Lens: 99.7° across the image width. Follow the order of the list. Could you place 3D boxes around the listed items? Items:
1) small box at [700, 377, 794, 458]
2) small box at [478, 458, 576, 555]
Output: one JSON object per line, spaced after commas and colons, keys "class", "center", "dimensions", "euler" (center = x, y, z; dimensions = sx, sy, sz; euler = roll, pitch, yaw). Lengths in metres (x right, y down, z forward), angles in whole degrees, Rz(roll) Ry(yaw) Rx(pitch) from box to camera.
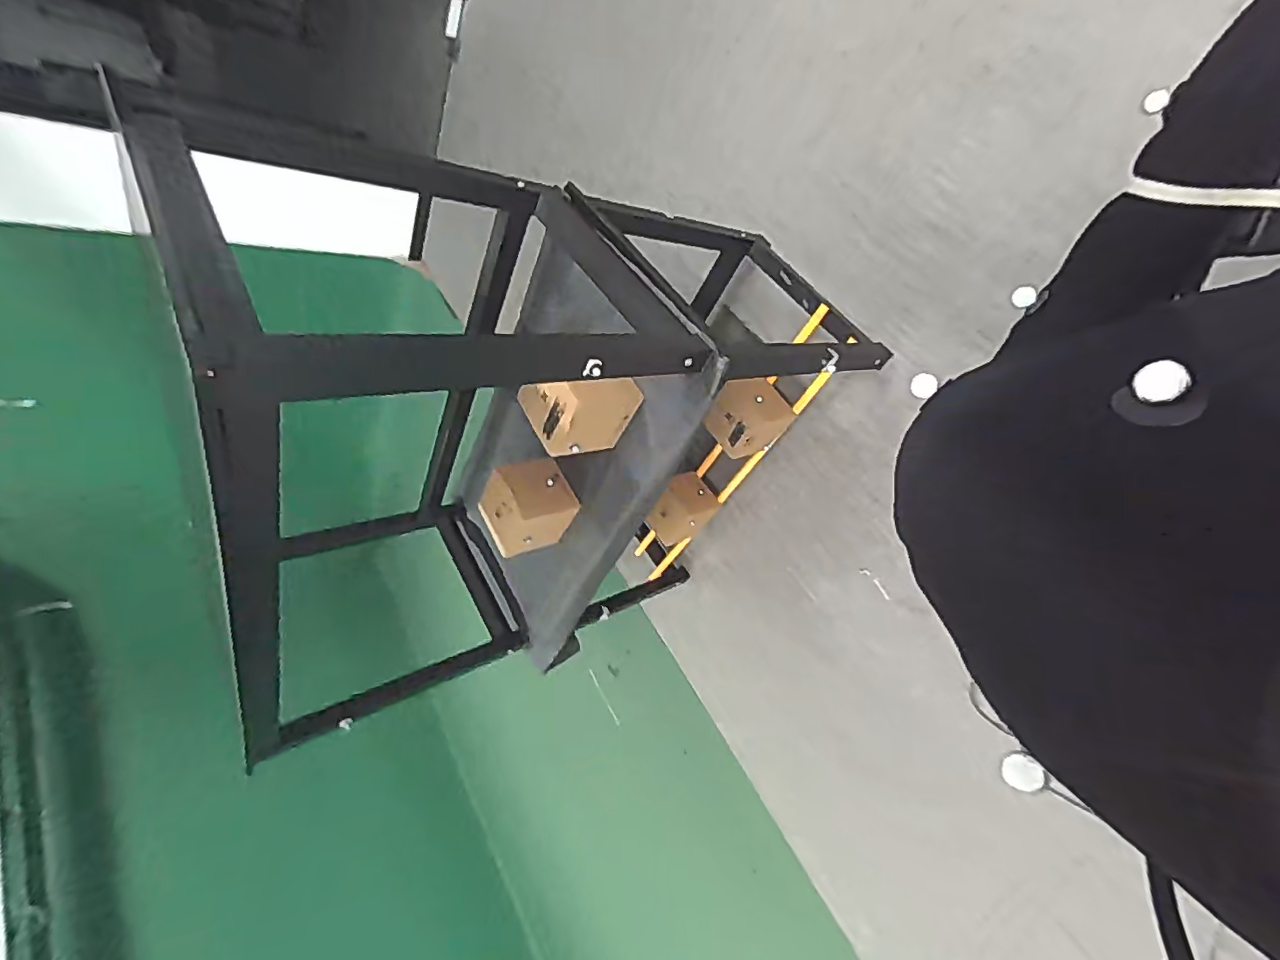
{"class": "small box", "center": [0.317, -0.191, 1.589], "dimensions": [0.179, 0.176, 0.168], "euler": [57, 135, 21]}
{"class": "small box", "center": [-0.287, 0.064, 1.381], "dimensions": [0.168, 0.176, 0.179], "euler": [57, 135, 21]}
